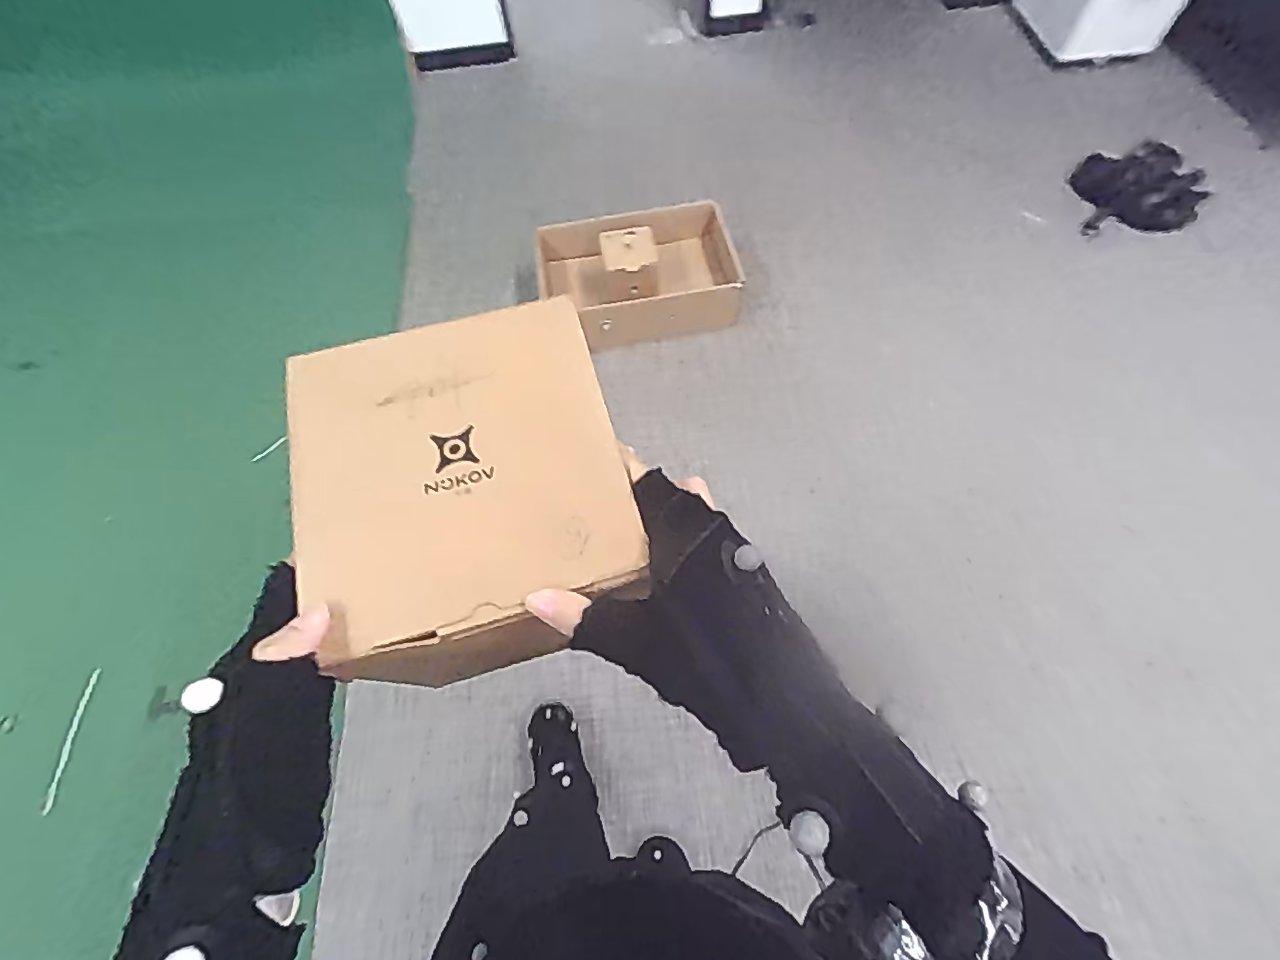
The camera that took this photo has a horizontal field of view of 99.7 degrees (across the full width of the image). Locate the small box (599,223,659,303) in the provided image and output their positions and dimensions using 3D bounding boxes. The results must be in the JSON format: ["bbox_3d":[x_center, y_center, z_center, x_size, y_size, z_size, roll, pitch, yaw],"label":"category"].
[{"bbox_3d":[-0.033,-0.695,1.756,0.168,0.176,0.179,-10,63,-1],"label":"small box"}]

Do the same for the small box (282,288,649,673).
[{"bbox_3d":[-0.095,0.015,0.357,0.168,0.176,0.179,-18,69,-6],"label":"small box"}]
